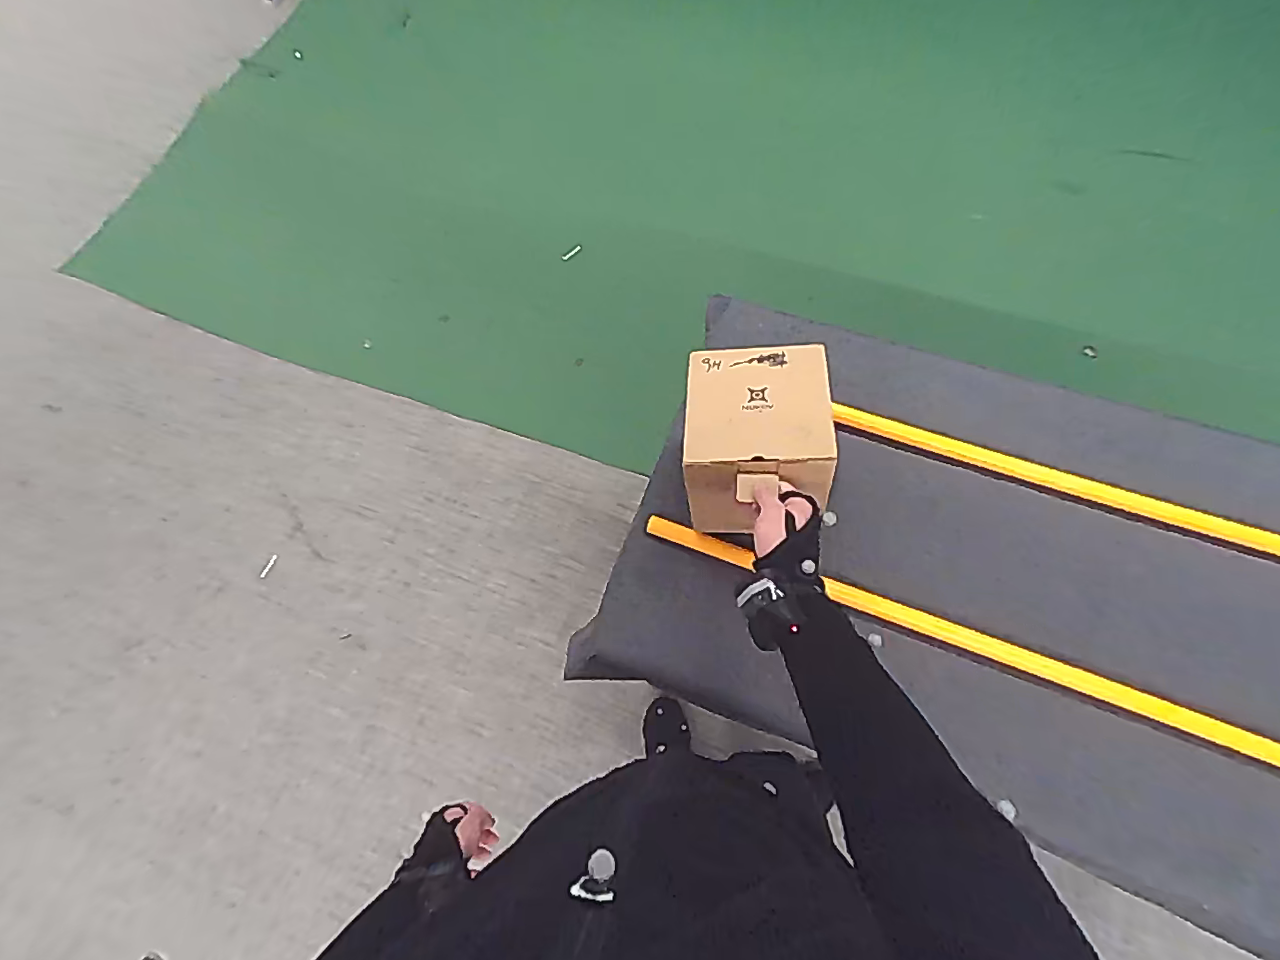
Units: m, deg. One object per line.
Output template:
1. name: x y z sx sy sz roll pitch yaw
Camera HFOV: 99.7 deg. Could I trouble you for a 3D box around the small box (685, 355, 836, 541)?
1. small box: 0.152 -0.031 0.695 0.168 0.176 0.179 -5 55 12
